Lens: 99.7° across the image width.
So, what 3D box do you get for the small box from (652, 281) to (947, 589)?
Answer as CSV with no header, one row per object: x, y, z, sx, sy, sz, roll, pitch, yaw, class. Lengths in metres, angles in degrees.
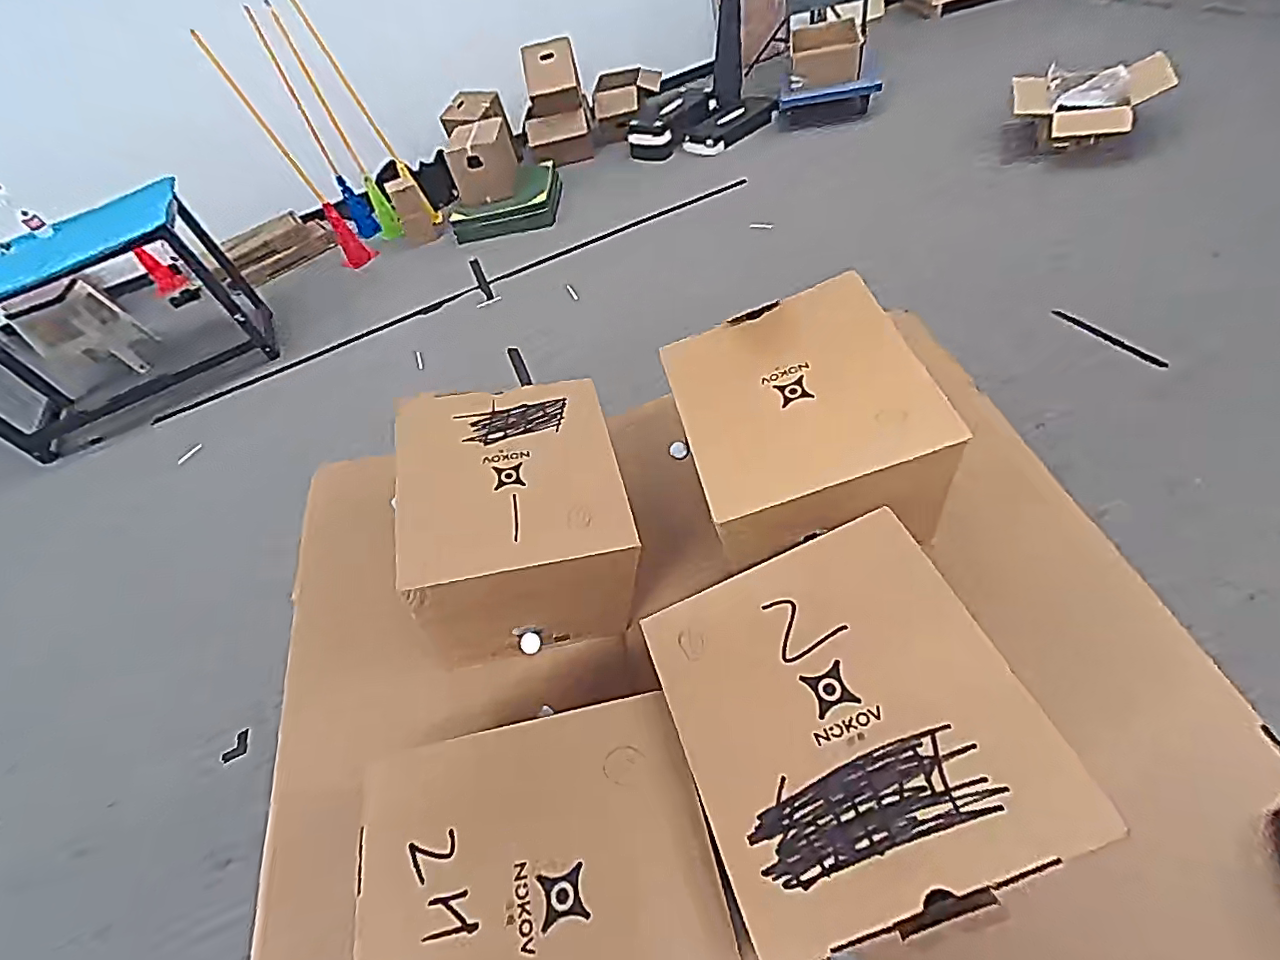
0.127,-0.023,0.458,0.168,0.176,0.179,-21,54,8,small box

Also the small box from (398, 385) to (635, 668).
-0.108,0.042,0.486,0.168,0.176,0.179,-10,55,-12,small box
